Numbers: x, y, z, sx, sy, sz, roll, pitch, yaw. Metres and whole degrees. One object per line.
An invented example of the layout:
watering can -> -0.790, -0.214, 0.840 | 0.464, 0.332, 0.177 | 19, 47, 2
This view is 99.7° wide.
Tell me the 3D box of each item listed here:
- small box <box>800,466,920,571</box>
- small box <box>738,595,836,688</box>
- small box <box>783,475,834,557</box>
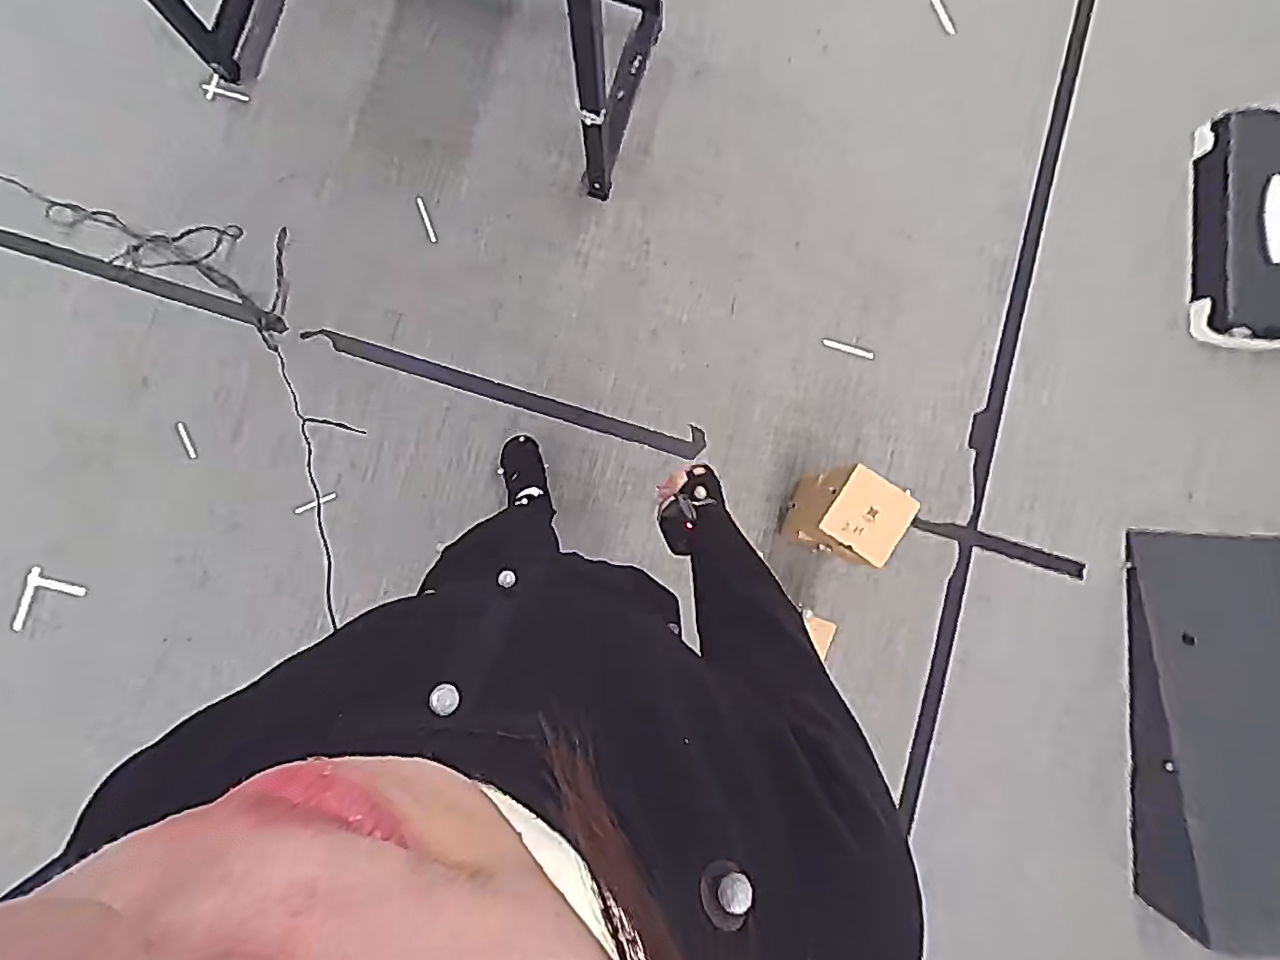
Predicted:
small box -> 0.502, 0.090, 1.263 | 0.168, 0.176, 0.179 | 35, 86, 2
small box -> 0.372, 0.409, 1.404 | 0.179, 0.176, 0.168 | 23, 86, 0
small box -> 0.495, 0.102, 1.427 | 0.168, 0.176, 0.179 | 22, 87, 0
